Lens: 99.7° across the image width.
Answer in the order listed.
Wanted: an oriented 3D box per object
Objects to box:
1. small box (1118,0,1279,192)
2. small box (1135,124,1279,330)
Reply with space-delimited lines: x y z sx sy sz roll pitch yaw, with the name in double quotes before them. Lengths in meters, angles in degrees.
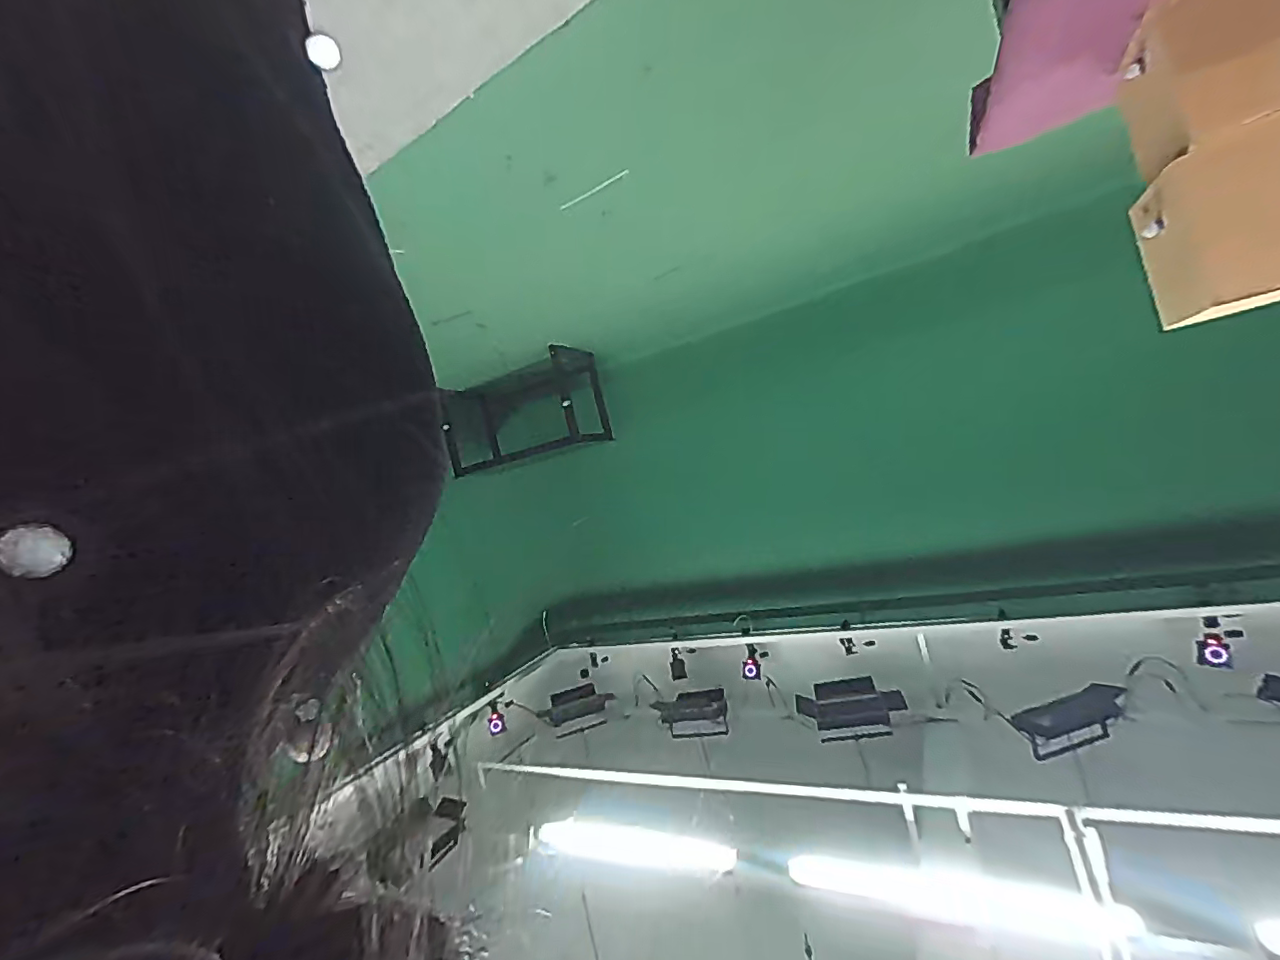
"small box" 0.655 -0.444 0.571 0.179 0.176 0.168 -15 178 31
"small box" 0.693 -0.284 0.589 0.179 0.176 0.168 -15 178 31
